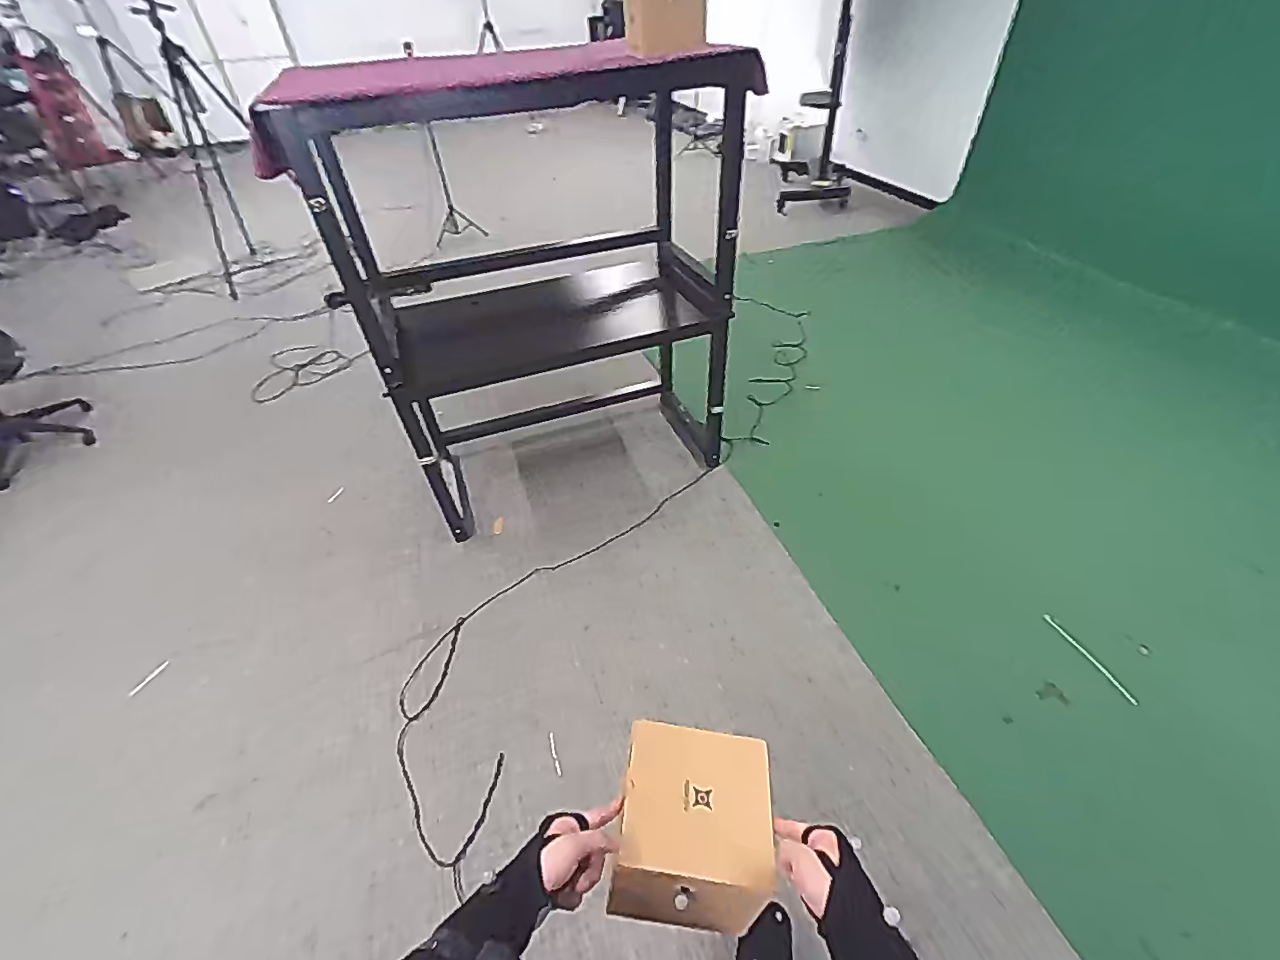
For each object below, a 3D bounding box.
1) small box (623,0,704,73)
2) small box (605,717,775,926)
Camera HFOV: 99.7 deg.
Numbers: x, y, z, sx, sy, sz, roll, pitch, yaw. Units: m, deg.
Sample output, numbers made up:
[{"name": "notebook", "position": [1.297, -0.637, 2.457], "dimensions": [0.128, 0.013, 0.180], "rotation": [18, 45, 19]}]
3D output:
[{"name": "small box", "position": [0.063, -1.181, 1.411], "dimensions": [0.179, 0.176, 0.168], "rotation": [-13, 45, -10]}, {"name": "small box", "position": [0.057, 0.431, 0.682], "dimensions": [0.179, 0.176, 0.168], "rotation": [8, 36, 1]}]
